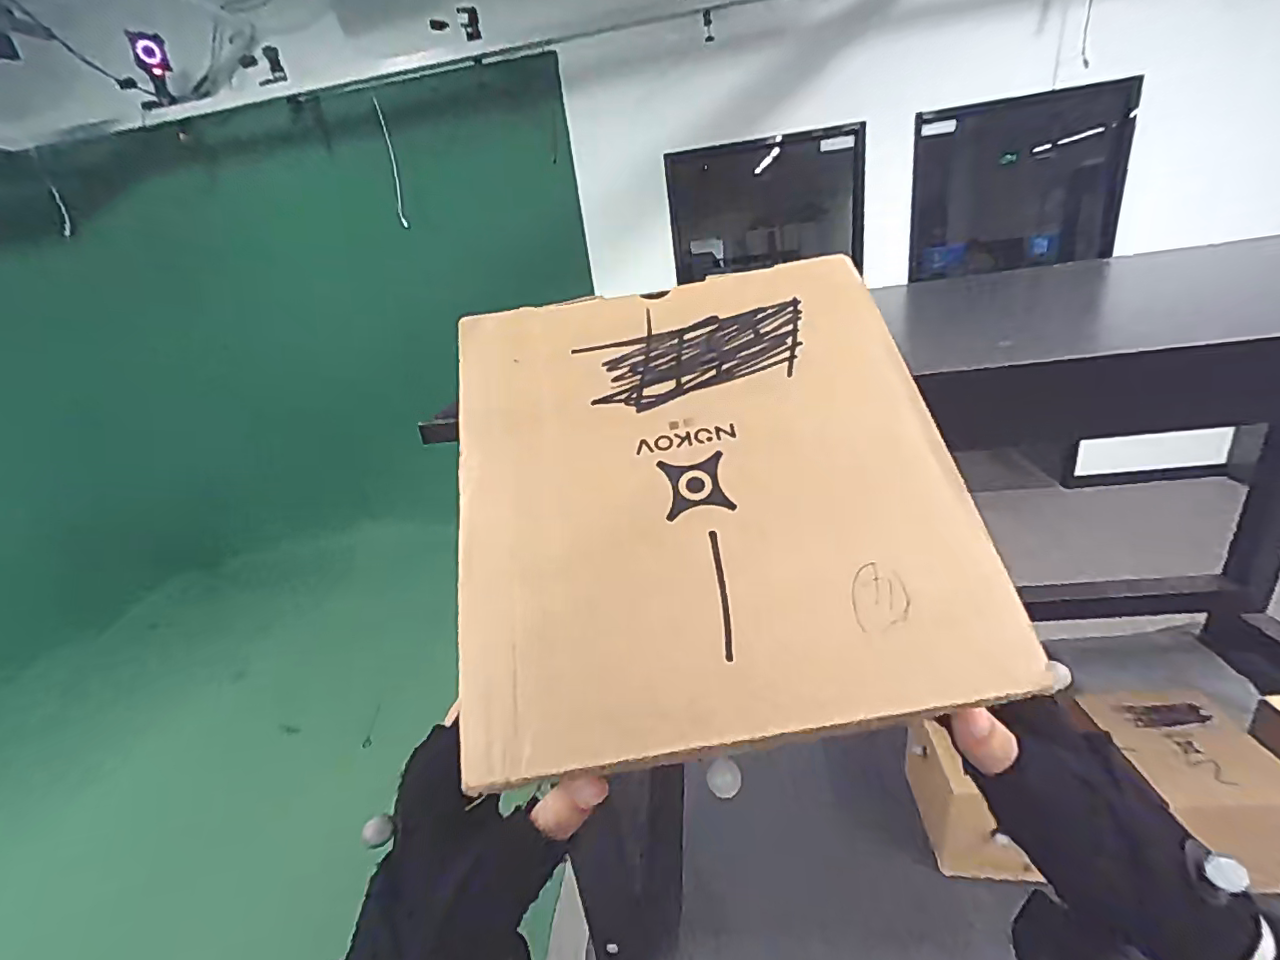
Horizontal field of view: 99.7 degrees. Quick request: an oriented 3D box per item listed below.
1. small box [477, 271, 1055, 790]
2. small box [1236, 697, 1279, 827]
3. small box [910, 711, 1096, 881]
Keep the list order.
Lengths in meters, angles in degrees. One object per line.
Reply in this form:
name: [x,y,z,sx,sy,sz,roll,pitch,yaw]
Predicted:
small box: [0.031,0.036,0.260,0.168,0.176,0.179,-10,63,1]
small box: [0.938,0.399,0.684,0.168,0.176,0.179,-5,21,6]
small box: [0.500,0.431,0.773,0.168,0.176,0.179,-4,21,11]
